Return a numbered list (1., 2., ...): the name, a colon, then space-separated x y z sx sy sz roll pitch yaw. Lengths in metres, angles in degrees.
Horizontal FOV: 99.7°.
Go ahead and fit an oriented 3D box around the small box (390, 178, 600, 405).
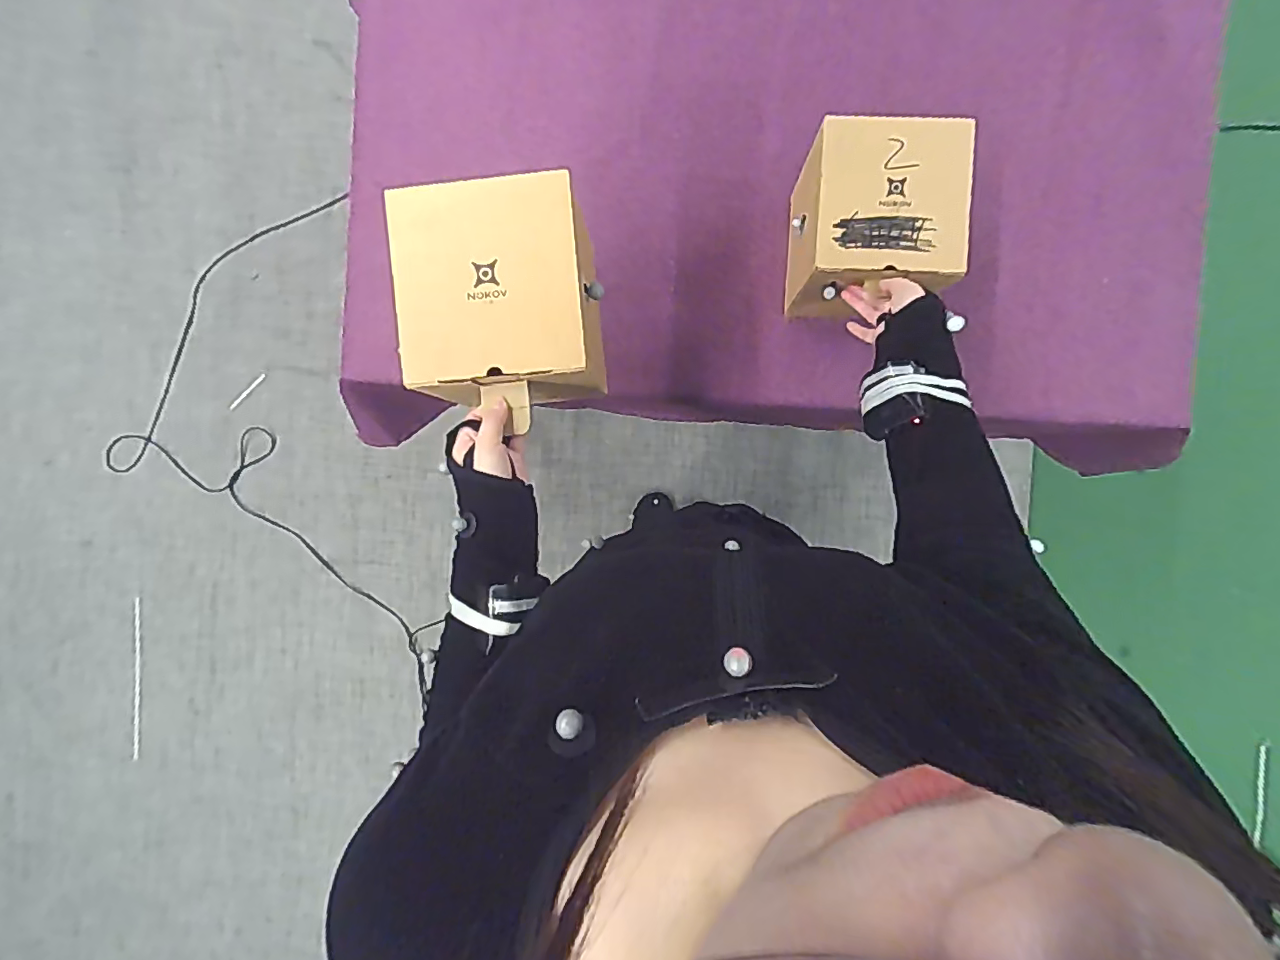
1. small box: -0.137 -0.180 0.568 0.168 0.176 0.179 -5 92 2
